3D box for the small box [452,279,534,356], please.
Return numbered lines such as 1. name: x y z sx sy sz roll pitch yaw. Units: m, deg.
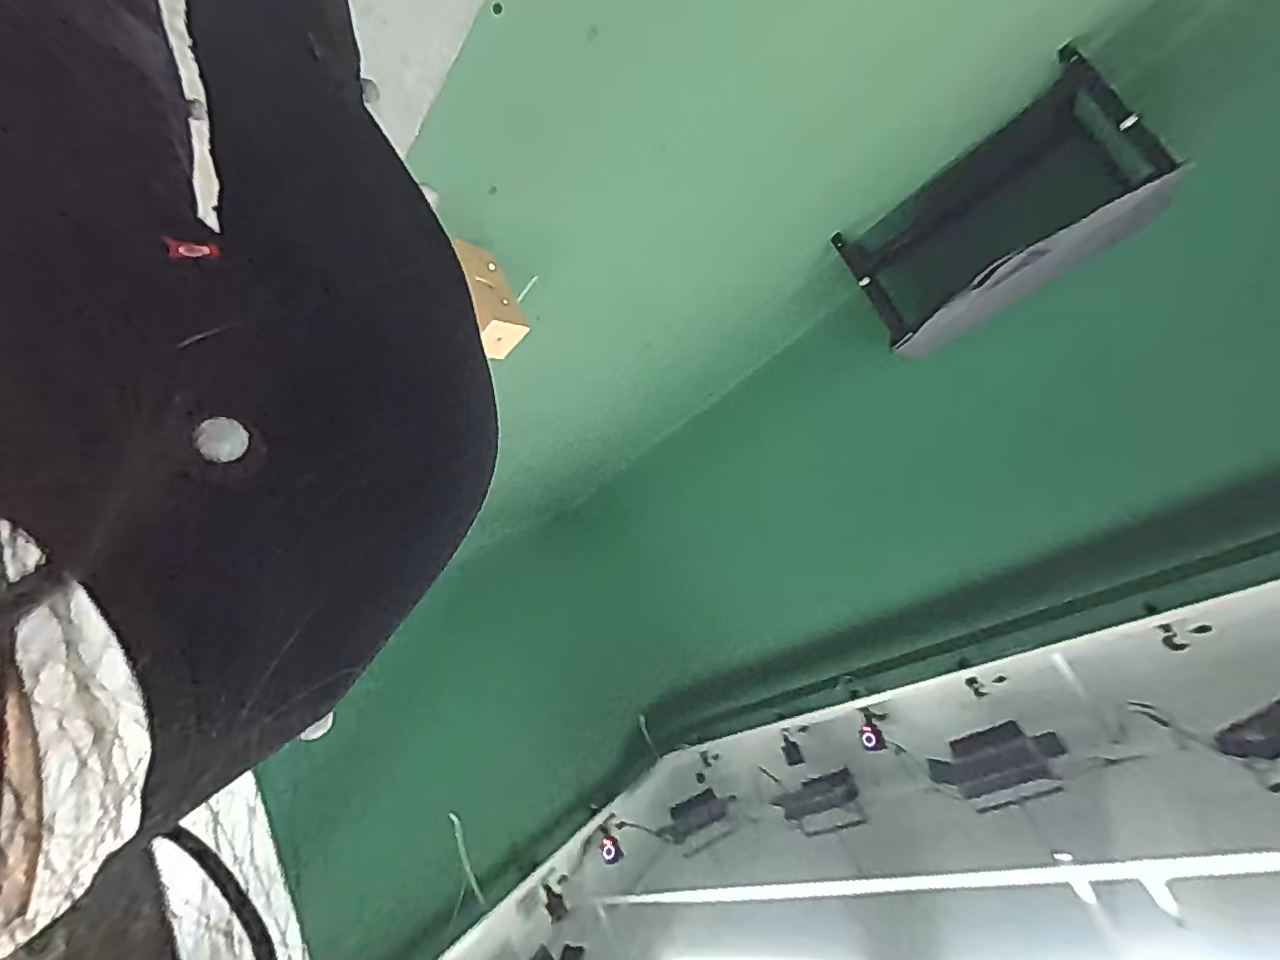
1. small box: -0.494 -0.538 1.799 0.179 0.176 0.168 -35 165 31
